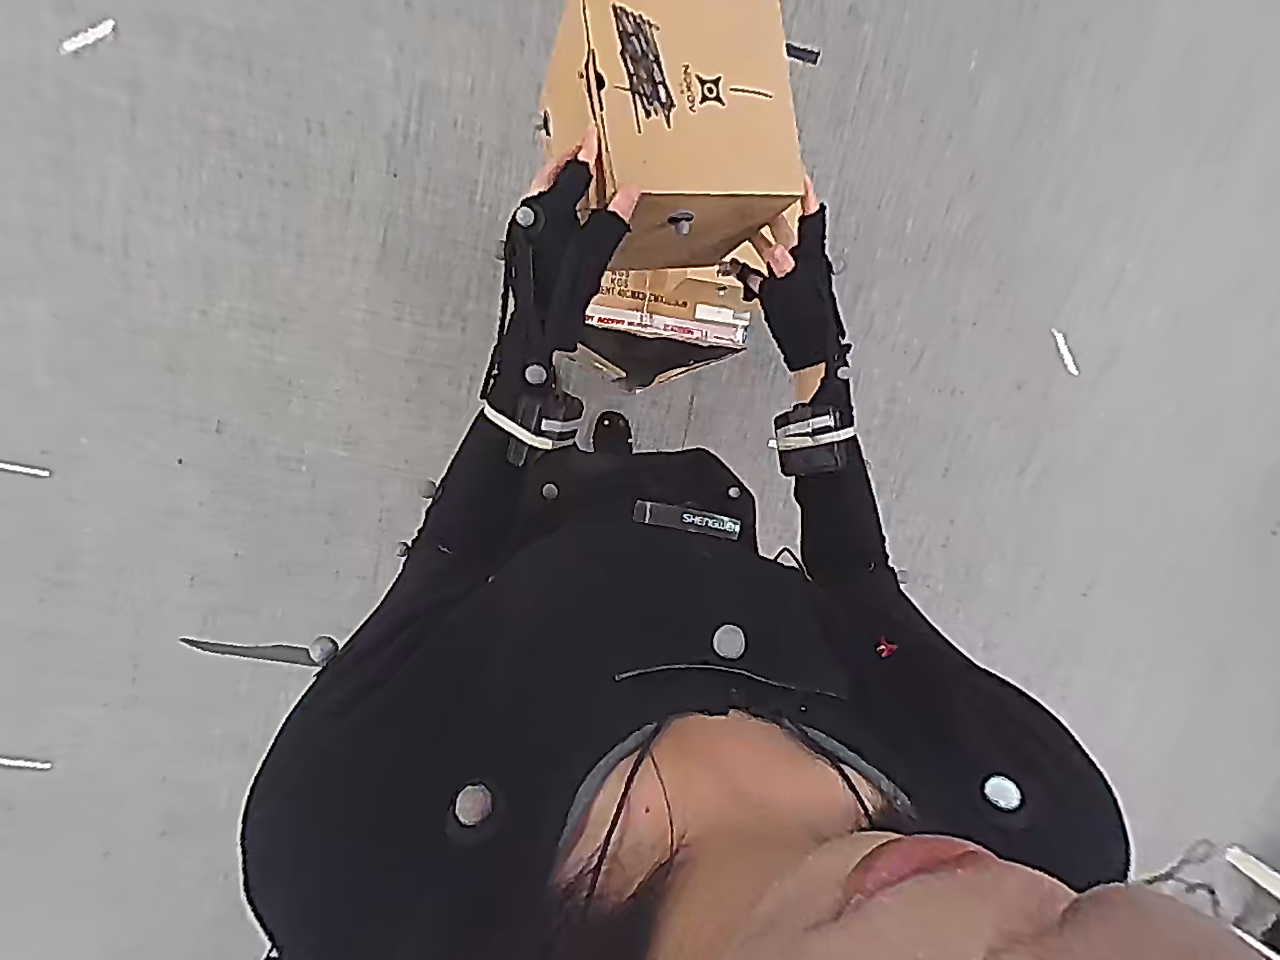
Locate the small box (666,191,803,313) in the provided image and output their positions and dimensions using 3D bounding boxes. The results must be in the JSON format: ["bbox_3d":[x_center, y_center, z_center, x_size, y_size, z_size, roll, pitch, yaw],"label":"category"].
[{"bbox_3d":[0.146,-0.390,0.890,0.168,0.176,0.179,7,96,-10],"label":"small box"}]

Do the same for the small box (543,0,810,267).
[{"bbox_3d":[0.019,-0.303,0.485,0.179,0.176,0.168,-12,95,-22],"label":"small box"}]
